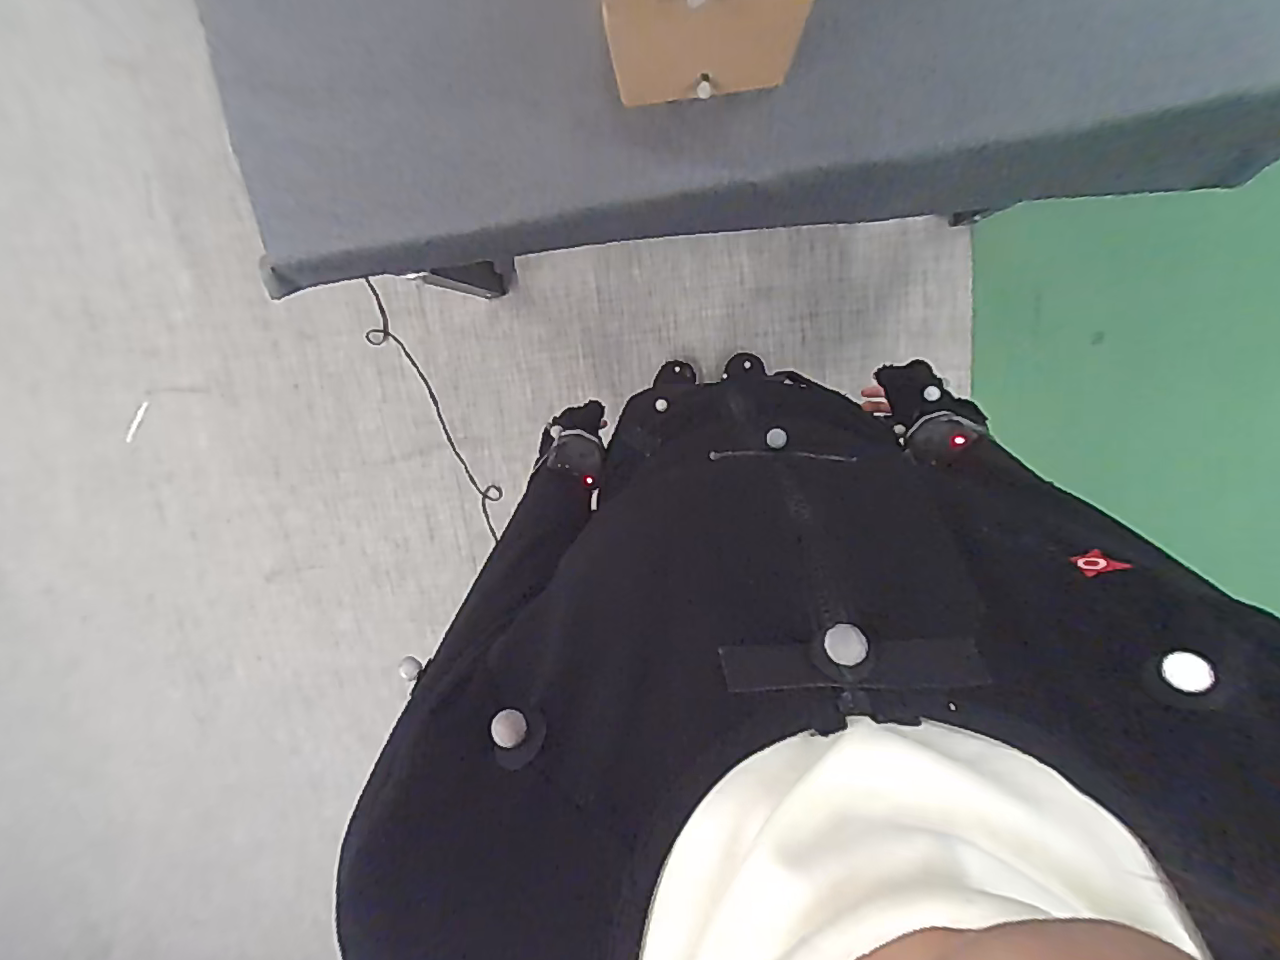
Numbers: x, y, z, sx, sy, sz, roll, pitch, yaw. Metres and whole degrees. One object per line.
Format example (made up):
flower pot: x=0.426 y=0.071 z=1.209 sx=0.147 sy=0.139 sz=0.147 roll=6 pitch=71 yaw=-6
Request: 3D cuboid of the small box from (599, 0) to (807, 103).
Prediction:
small box: x=0.049 y=-0.484 z=0.501 sx=0.179 sy=0.176 sz=0.168 roll=-5 pitch=102 yaw=4

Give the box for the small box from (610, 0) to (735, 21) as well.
small box: x=0.036 y=-0.450 z=0.342 sx=0.168 sy=0.176 sz=0.179 roll=-6 pitch=104 yaw=7
